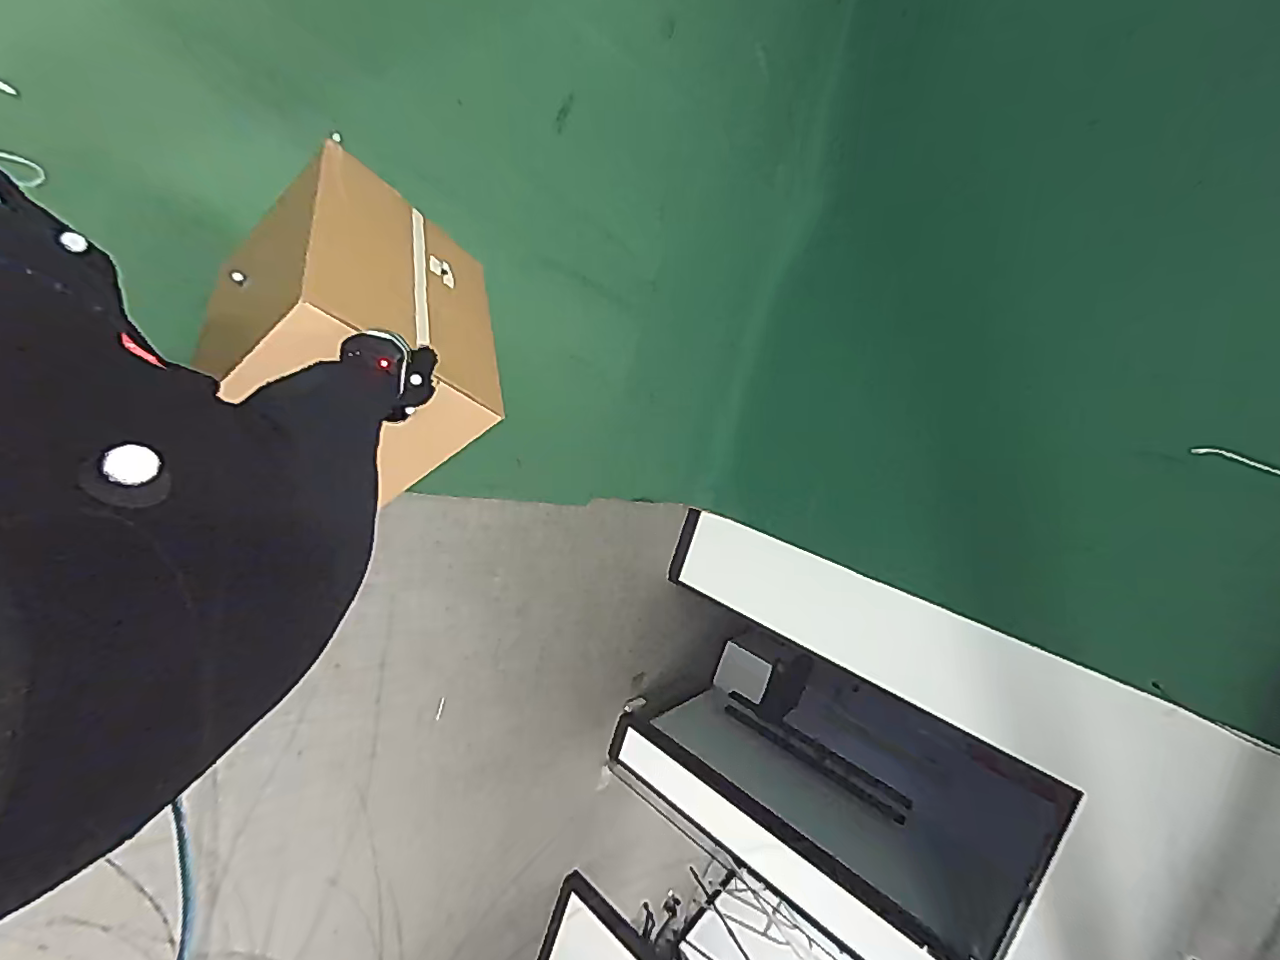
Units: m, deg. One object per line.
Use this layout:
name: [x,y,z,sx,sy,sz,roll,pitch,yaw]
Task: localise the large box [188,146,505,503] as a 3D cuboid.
large box: [-0.466,-0.232,0.893,0.320,0.408,0.320,-32,144,20]
